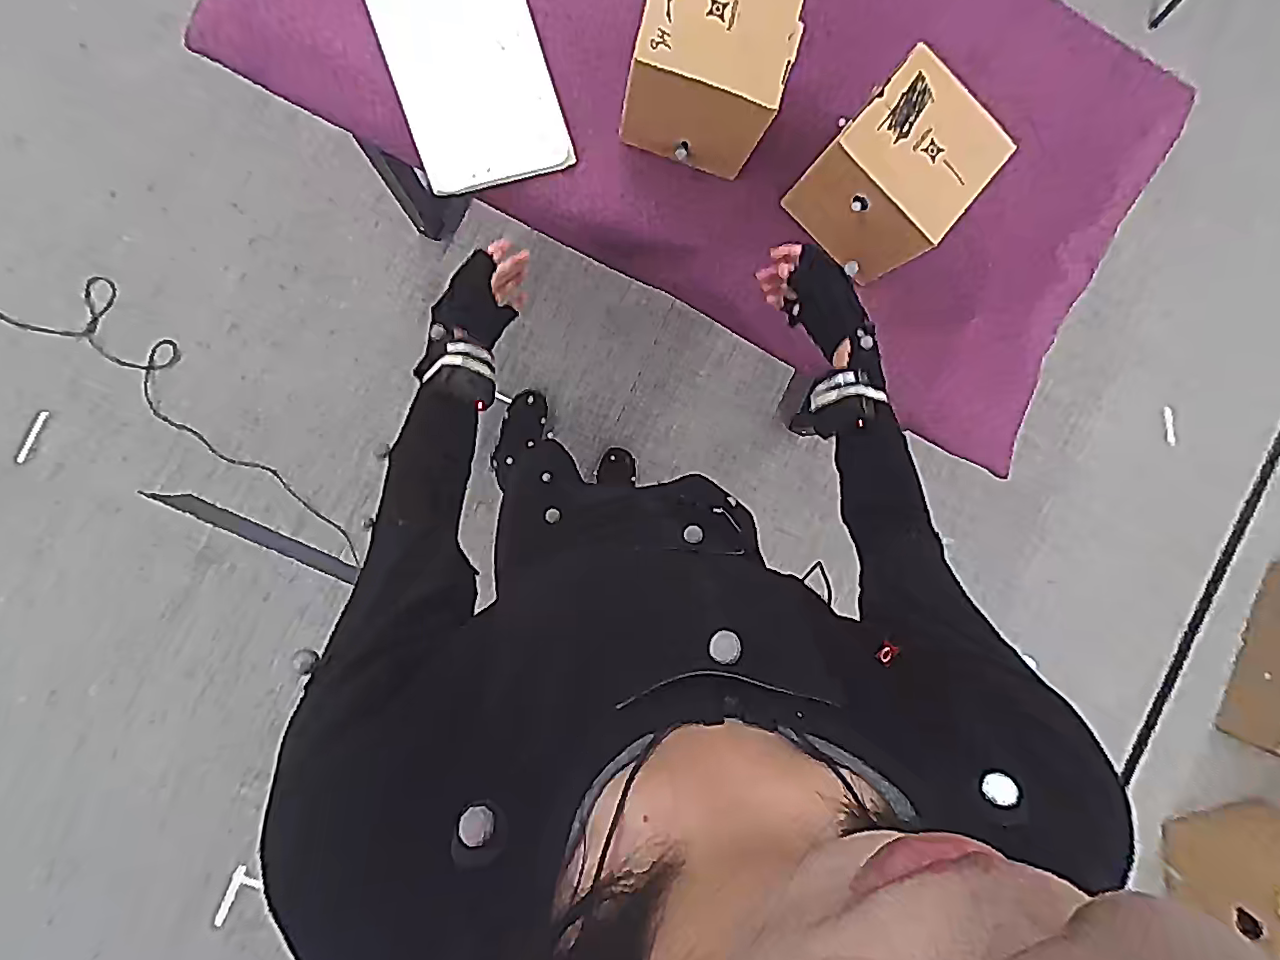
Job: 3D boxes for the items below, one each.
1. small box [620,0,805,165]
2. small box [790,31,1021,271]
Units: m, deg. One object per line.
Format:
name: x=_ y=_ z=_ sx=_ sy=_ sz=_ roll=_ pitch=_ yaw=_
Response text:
small box: x=0.083 y=-0.532 z=0.676 sx=0.179 sy=0.176 sz=0.168 roll=14 pitch=91 yaw=-9
small box: x=0.333 y=-0.412 z=0.714 sx=0.179 sy=0.176 sz=0.168 roll=41 pitch=87 yaw=-8
